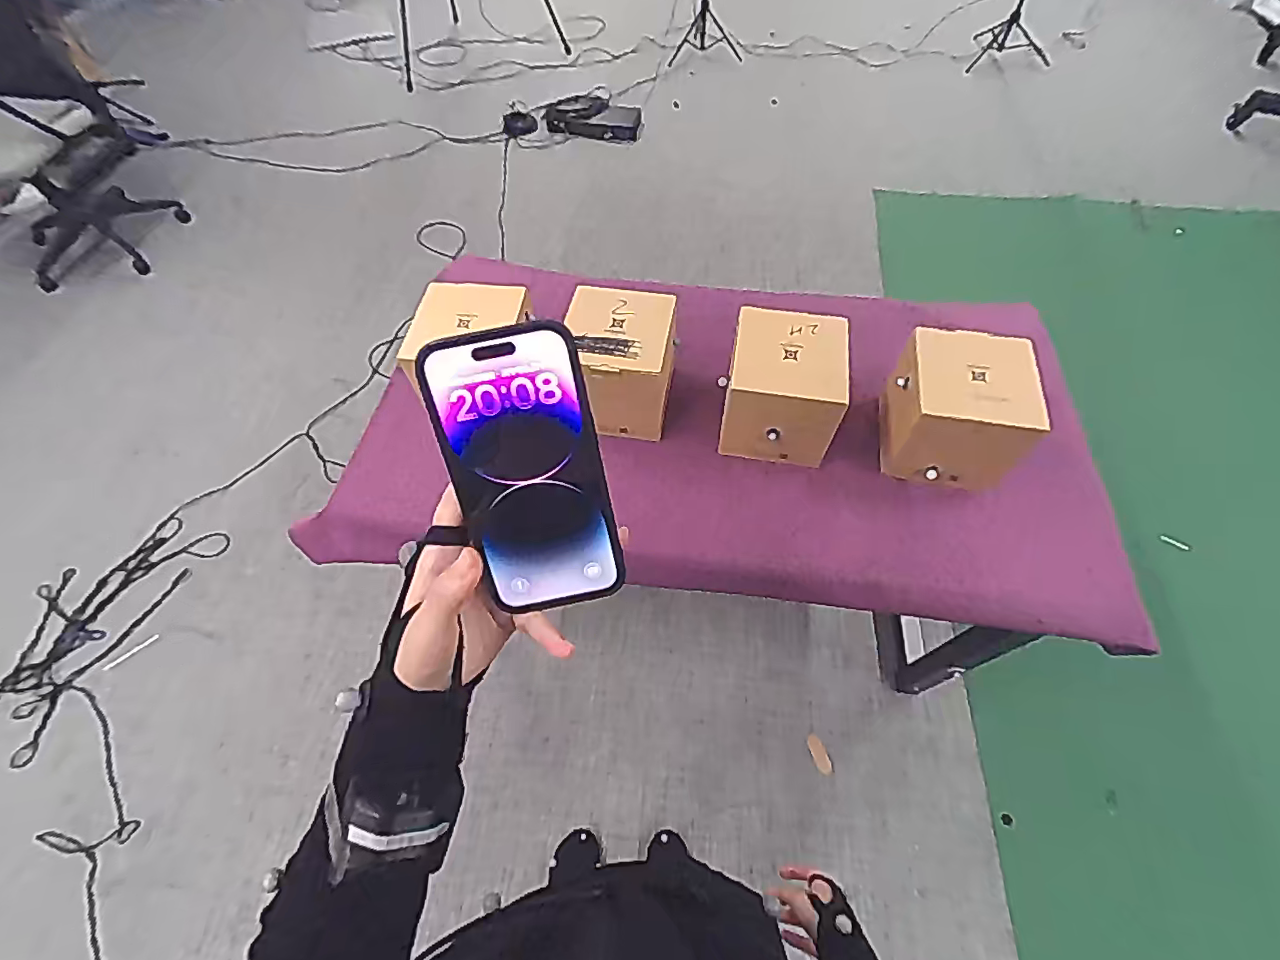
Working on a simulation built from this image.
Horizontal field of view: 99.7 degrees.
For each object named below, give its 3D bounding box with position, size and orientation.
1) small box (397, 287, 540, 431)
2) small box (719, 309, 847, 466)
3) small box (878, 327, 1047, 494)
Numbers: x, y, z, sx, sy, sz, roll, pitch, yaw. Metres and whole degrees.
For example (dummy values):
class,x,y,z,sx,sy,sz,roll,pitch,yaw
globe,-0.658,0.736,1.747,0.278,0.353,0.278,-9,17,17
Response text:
class,x,y,z,sx,sy,sz,roll,pitch,yaw
small box,-0.273,-0.200,0.912,0.168,0.176,0.179,3,57,4
small box,0.222,-0.143,0.864,0.168,0.176,0.179,9,58,6
small box,0.479,-0.105,0.835,0.168,0.176,0.179,10,59,8
